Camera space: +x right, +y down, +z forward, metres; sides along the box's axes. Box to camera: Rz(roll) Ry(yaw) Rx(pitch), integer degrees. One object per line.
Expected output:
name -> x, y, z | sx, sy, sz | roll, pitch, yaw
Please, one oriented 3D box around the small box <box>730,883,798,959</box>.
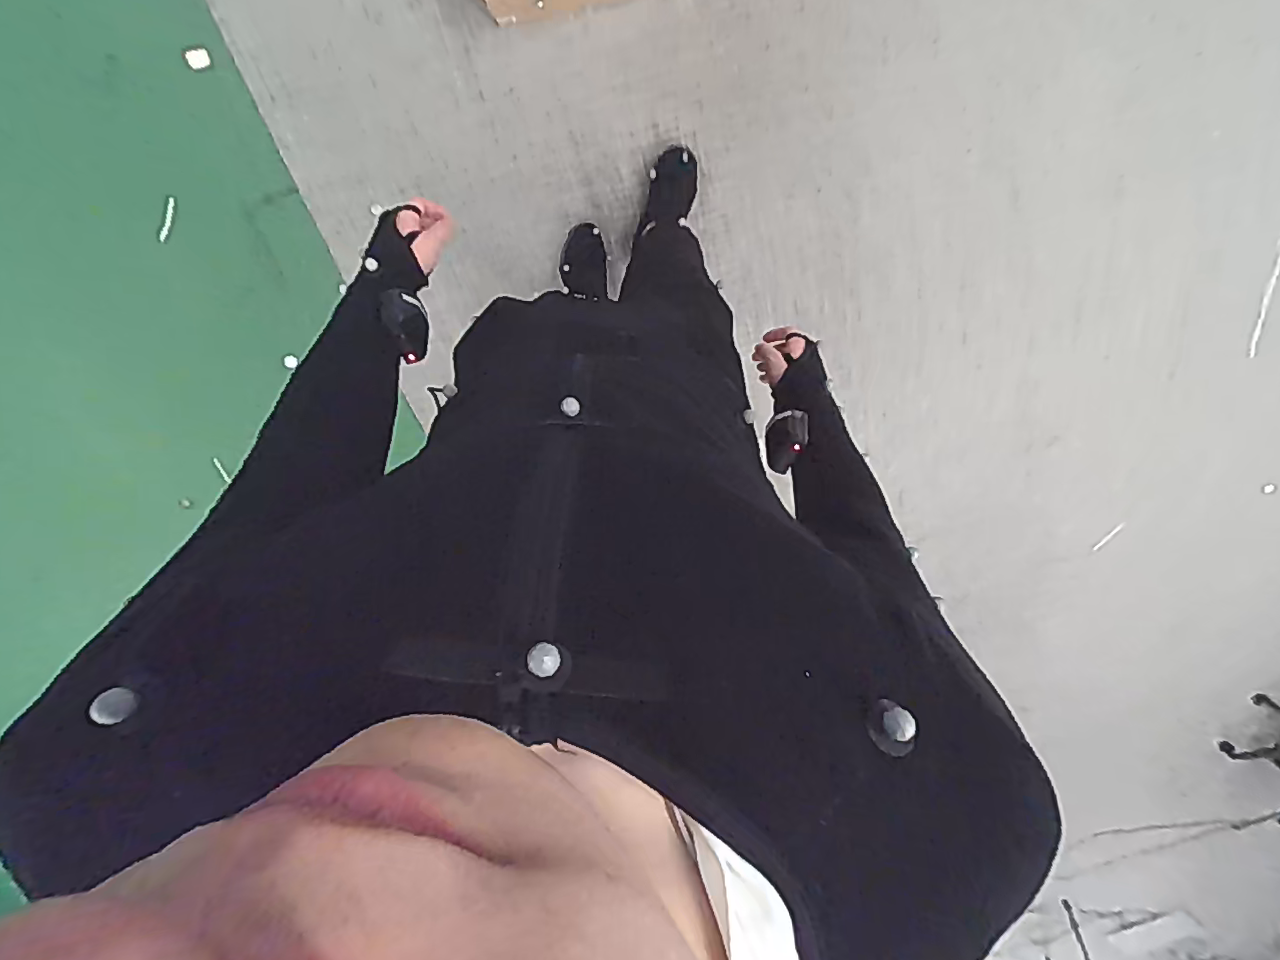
small box -> 0.381, 1.382, 1.663 | 0.168, 0.176, 0.179 | -14, 119, 4
